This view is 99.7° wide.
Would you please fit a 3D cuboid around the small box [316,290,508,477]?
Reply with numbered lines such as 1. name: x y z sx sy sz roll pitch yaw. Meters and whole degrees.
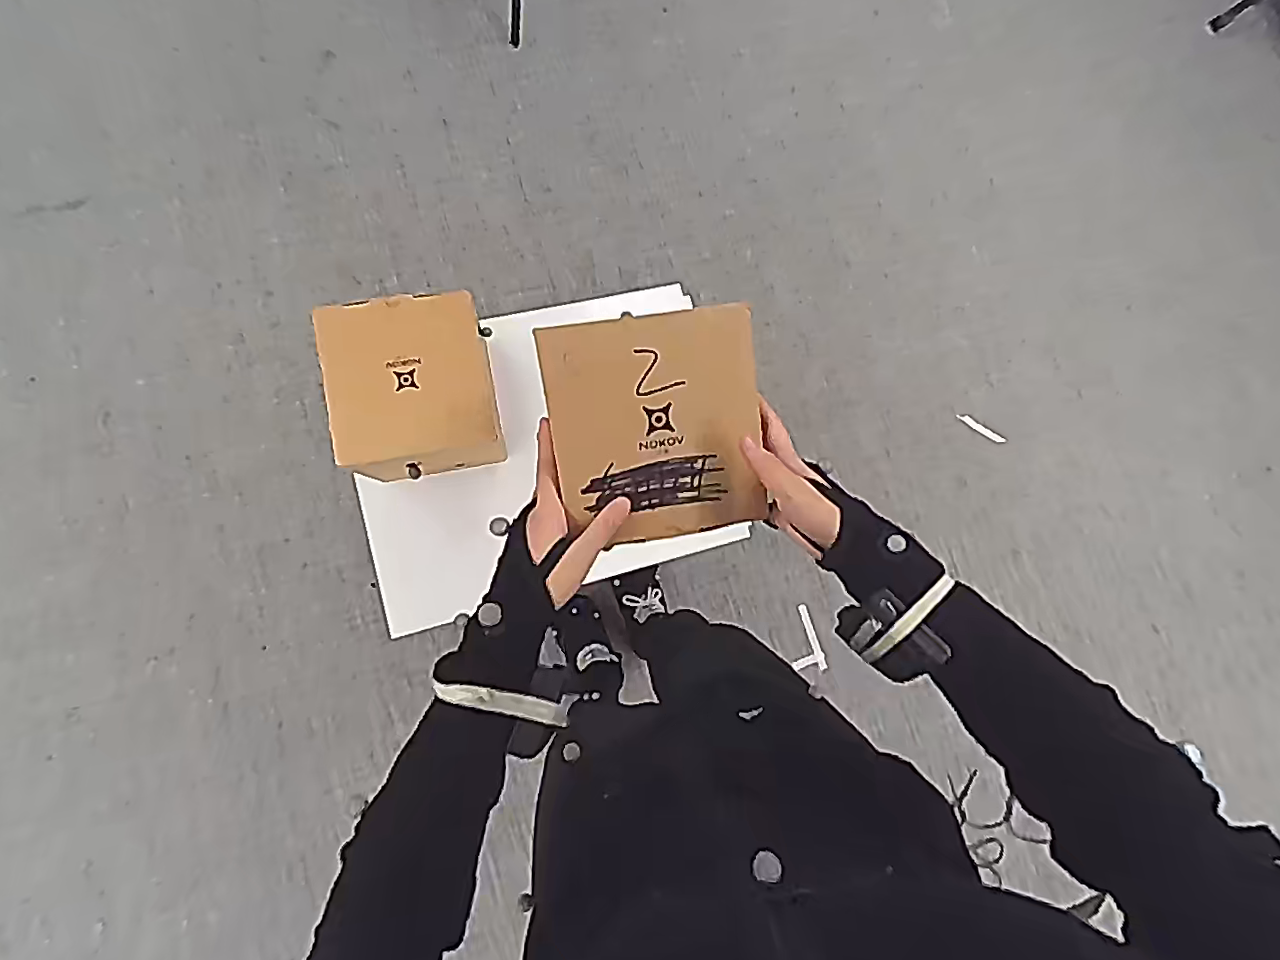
1. small box: -0.260 -0.103 0.655 0.168 0.176 0.179 -11 85 -11
